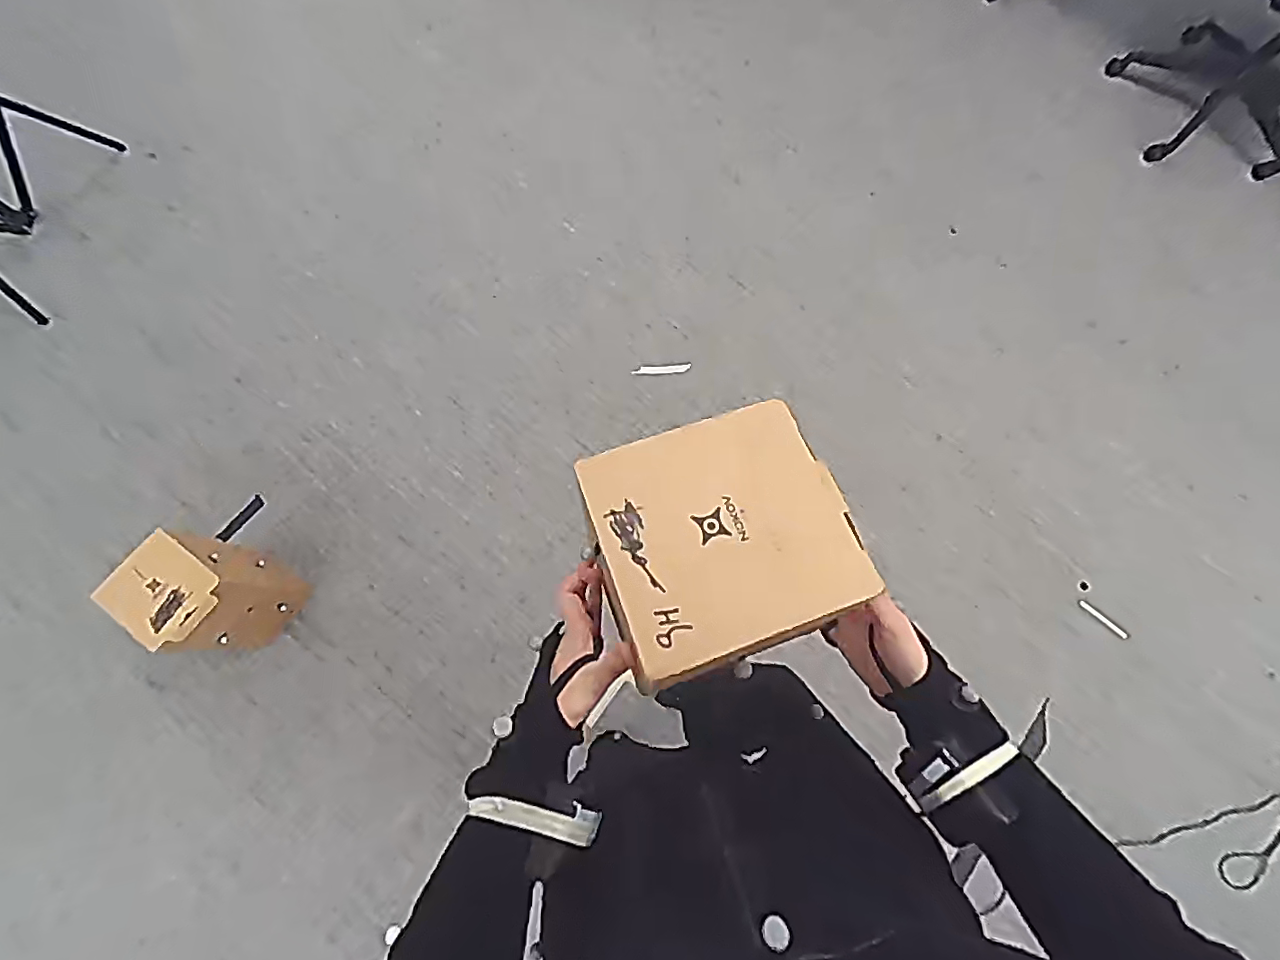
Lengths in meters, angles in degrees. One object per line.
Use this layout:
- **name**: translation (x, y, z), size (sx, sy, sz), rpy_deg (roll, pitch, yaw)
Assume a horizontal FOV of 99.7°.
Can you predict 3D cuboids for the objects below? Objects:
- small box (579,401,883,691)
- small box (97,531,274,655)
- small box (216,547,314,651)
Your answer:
- **small box**: translation (0.056, 0.064, 0.455), size (0.179, 0.176, 0.168), rpy_deg (-17, 66, -10)
- **small box**: translation (-0.895, 0.226, 1.087), size (0.179, 0.176, 0.168), rpy_deg (35, 76, 7)
- **small box**: translation (-0.906, 0.271, 1.245), size (0.179, 0.176, 0.168), rpy_deg (34, 76, 7)
